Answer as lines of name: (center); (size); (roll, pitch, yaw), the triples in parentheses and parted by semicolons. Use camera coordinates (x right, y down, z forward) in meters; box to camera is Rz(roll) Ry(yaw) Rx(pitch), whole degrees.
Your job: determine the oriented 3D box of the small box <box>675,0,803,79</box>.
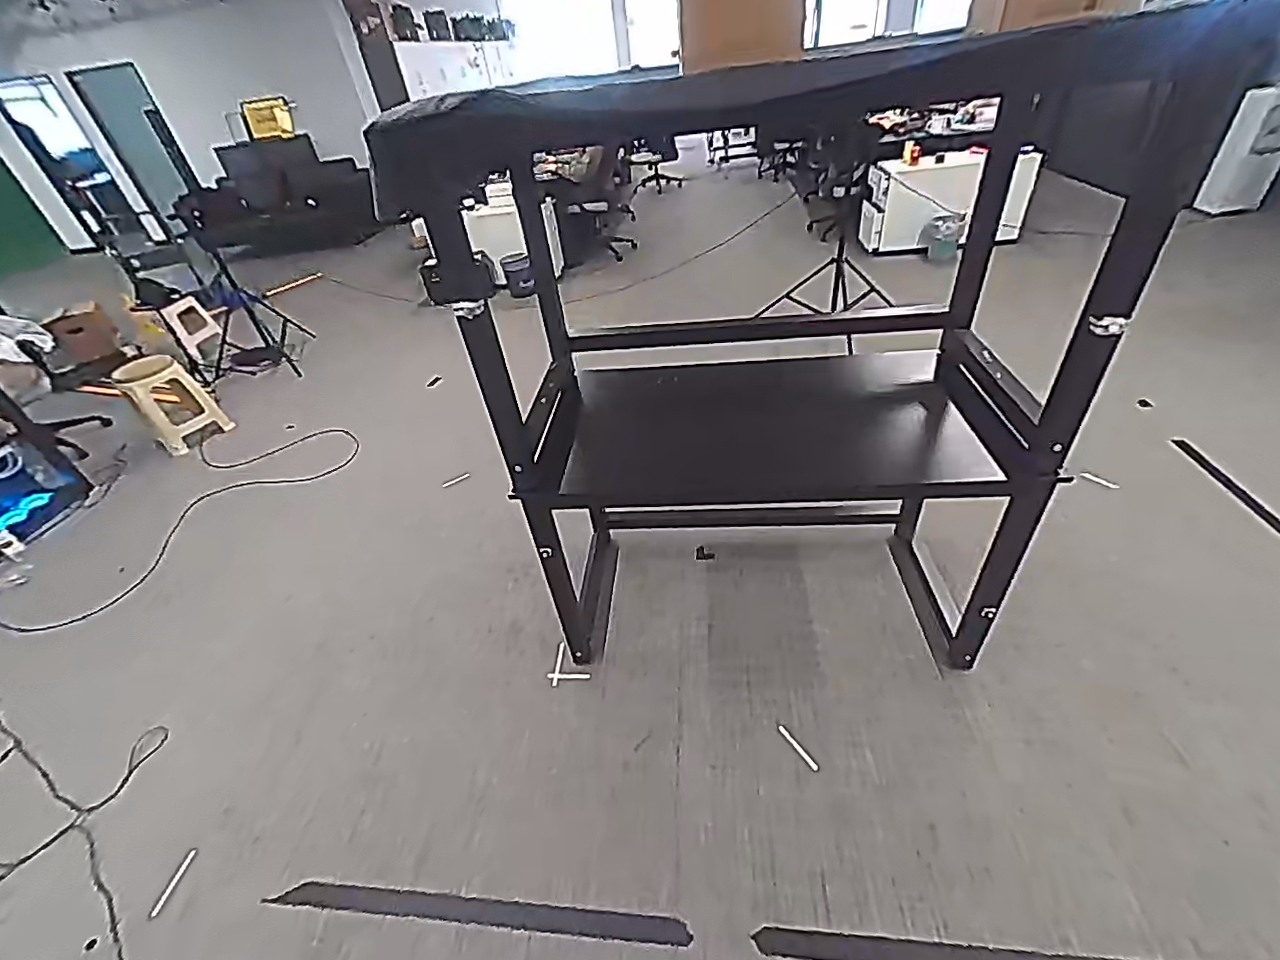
small box: (0.140, -0.703, 0.796); (0.179, 0.176, 0.168); (-3, 37, 5)
